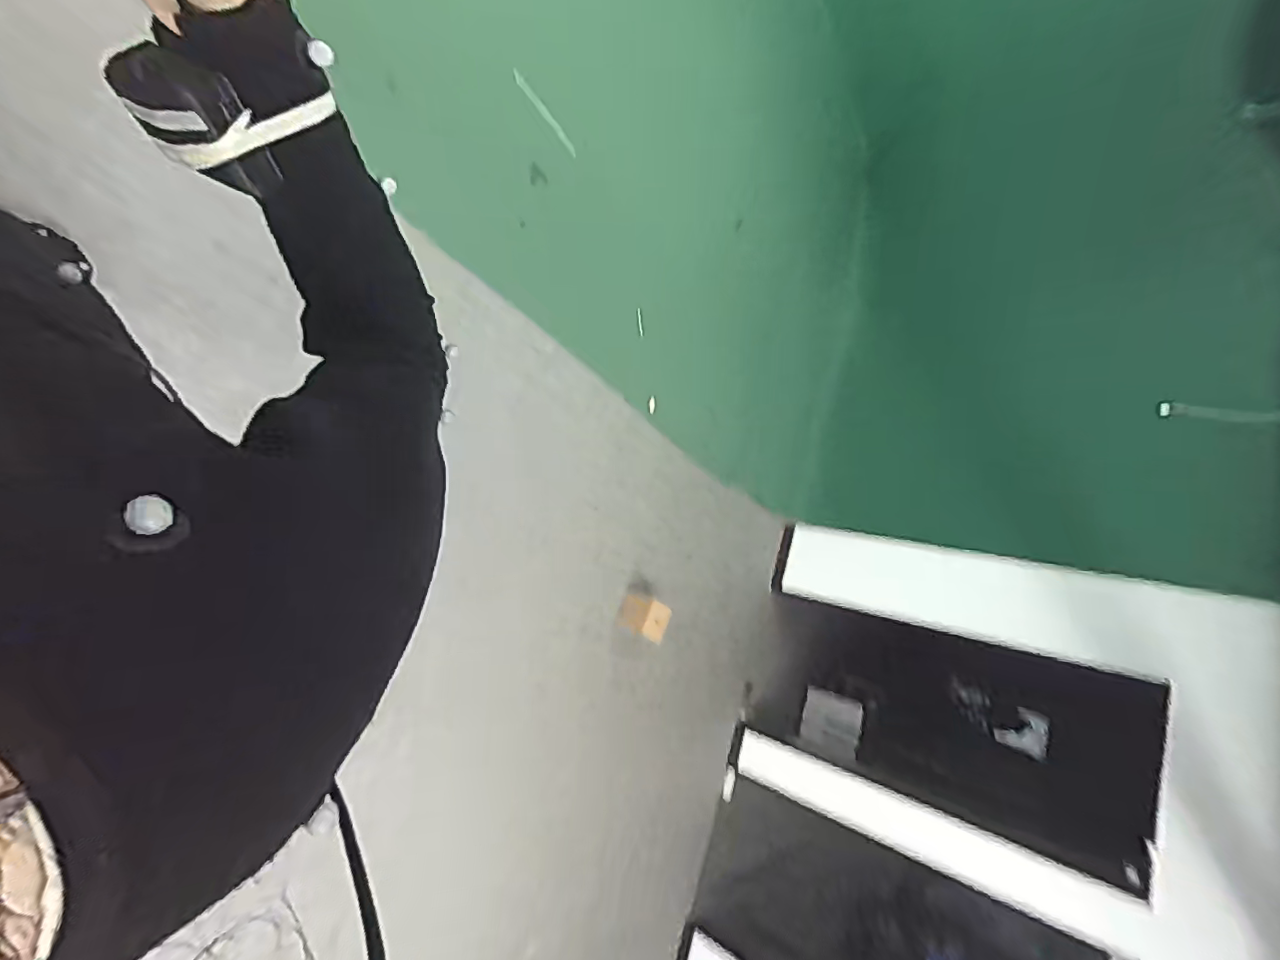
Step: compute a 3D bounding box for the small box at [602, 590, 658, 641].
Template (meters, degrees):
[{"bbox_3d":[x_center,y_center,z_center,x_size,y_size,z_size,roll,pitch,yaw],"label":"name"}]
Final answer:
[{"bbox_3d":[-0.049,0.621,2.494,0.179,0.176,0.168,44,63,-48],"label":"small box"}]
